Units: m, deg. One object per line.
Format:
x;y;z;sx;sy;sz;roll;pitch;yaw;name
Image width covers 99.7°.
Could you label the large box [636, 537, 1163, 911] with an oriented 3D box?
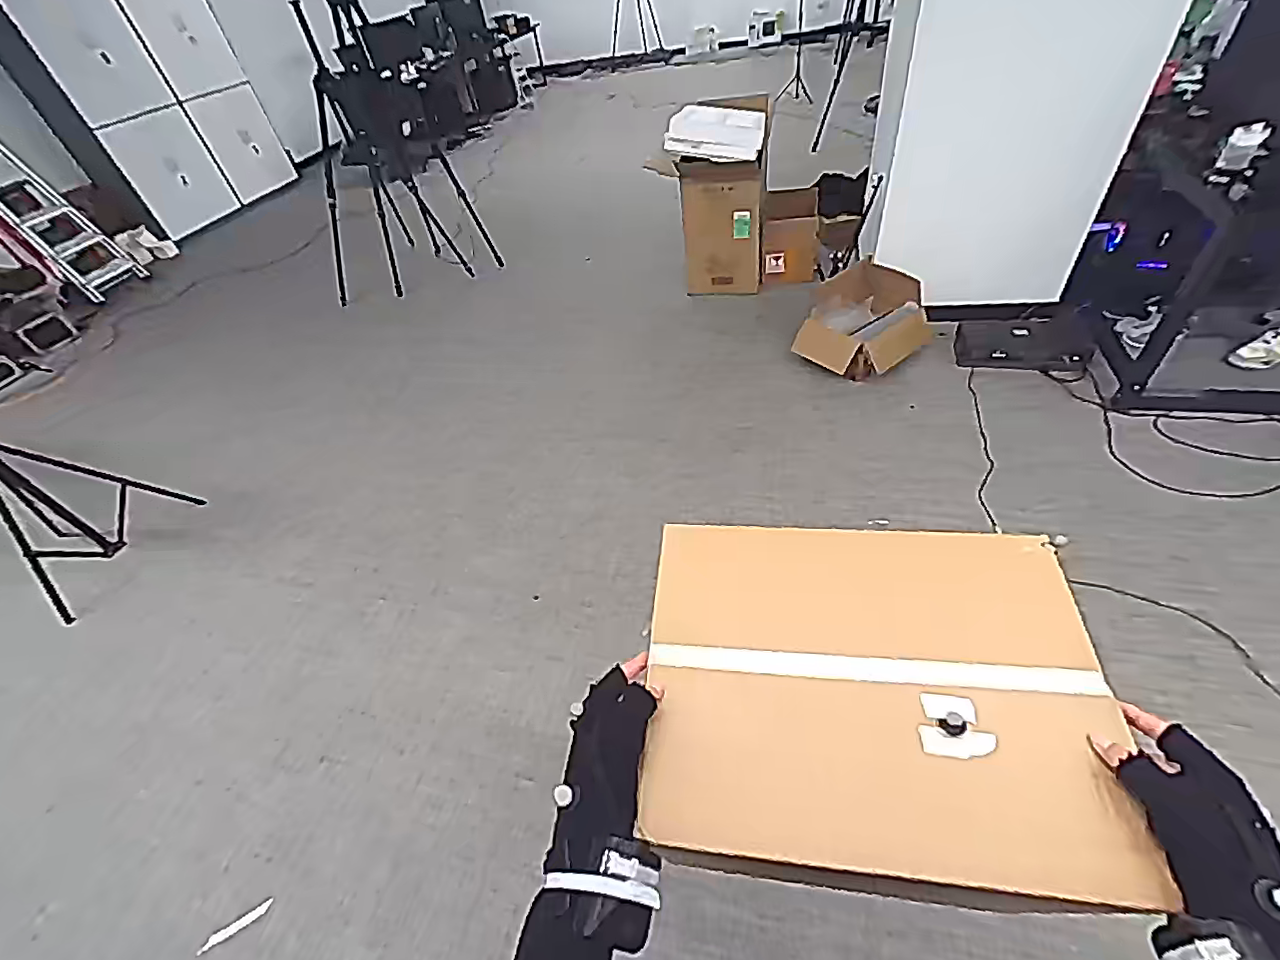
0.224;0.281;0.633;0.408;0.320;0.320;1;52;10;large box
